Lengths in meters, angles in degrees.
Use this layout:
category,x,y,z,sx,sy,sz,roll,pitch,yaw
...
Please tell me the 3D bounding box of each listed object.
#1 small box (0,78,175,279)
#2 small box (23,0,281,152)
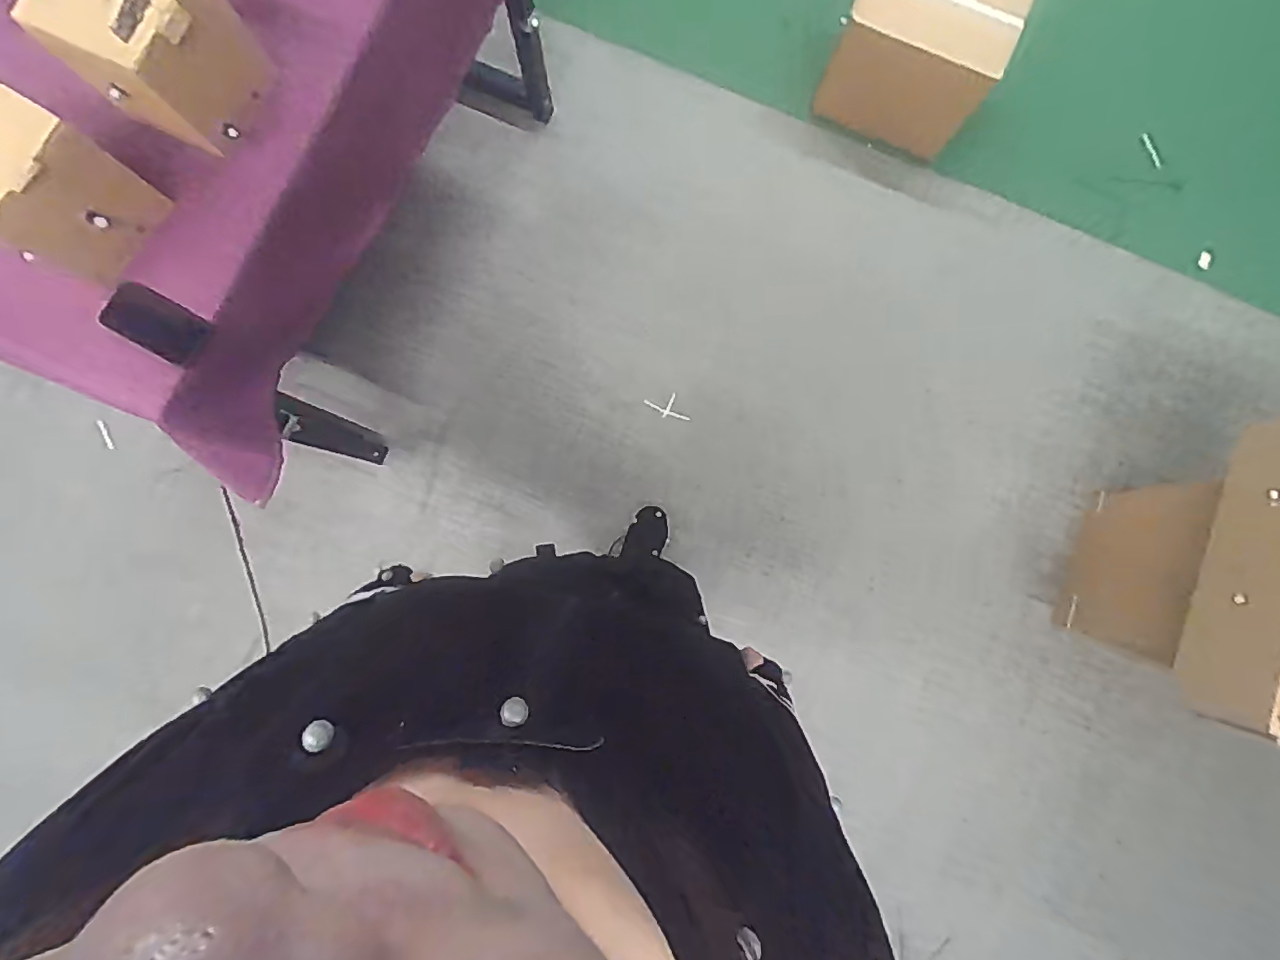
category,x,y,z,sx,sy,sz,roll,pitch,yaw
small box,-0.806,-0.403,0.736,0.179,0.176,0.168,32,84,2
small box,-0.659,-0.604,0.758,0.179,0.176,0.168,24,84,2
